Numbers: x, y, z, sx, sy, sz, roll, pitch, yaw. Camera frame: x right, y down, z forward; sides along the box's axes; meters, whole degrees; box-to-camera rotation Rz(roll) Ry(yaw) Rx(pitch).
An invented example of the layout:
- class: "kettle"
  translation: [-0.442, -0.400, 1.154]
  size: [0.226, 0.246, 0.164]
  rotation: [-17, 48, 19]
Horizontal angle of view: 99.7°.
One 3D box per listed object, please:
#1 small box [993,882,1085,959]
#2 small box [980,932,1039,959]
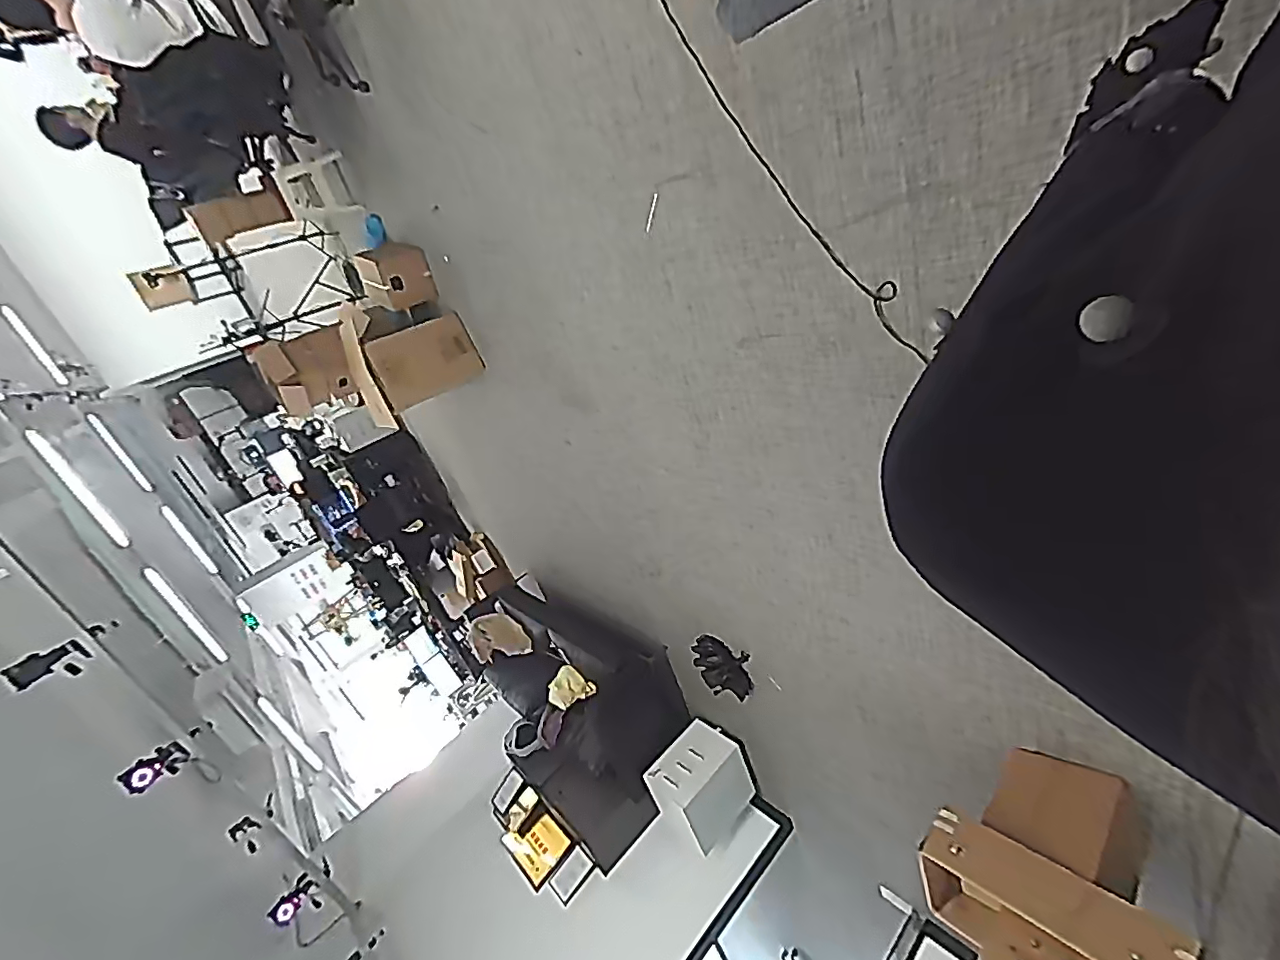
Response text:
- class: "small box"
  translation: [1.160, 1.334, 1.567]
  size: [0.168, 0.176, 0.179]
  rotation: [2, 122, 53]
- class: "small box"
  translation: [1.044, 1.419, 1.487]
  size: [0.168, 0.176, 0.179]
  rotation: [4, 122, 53]
